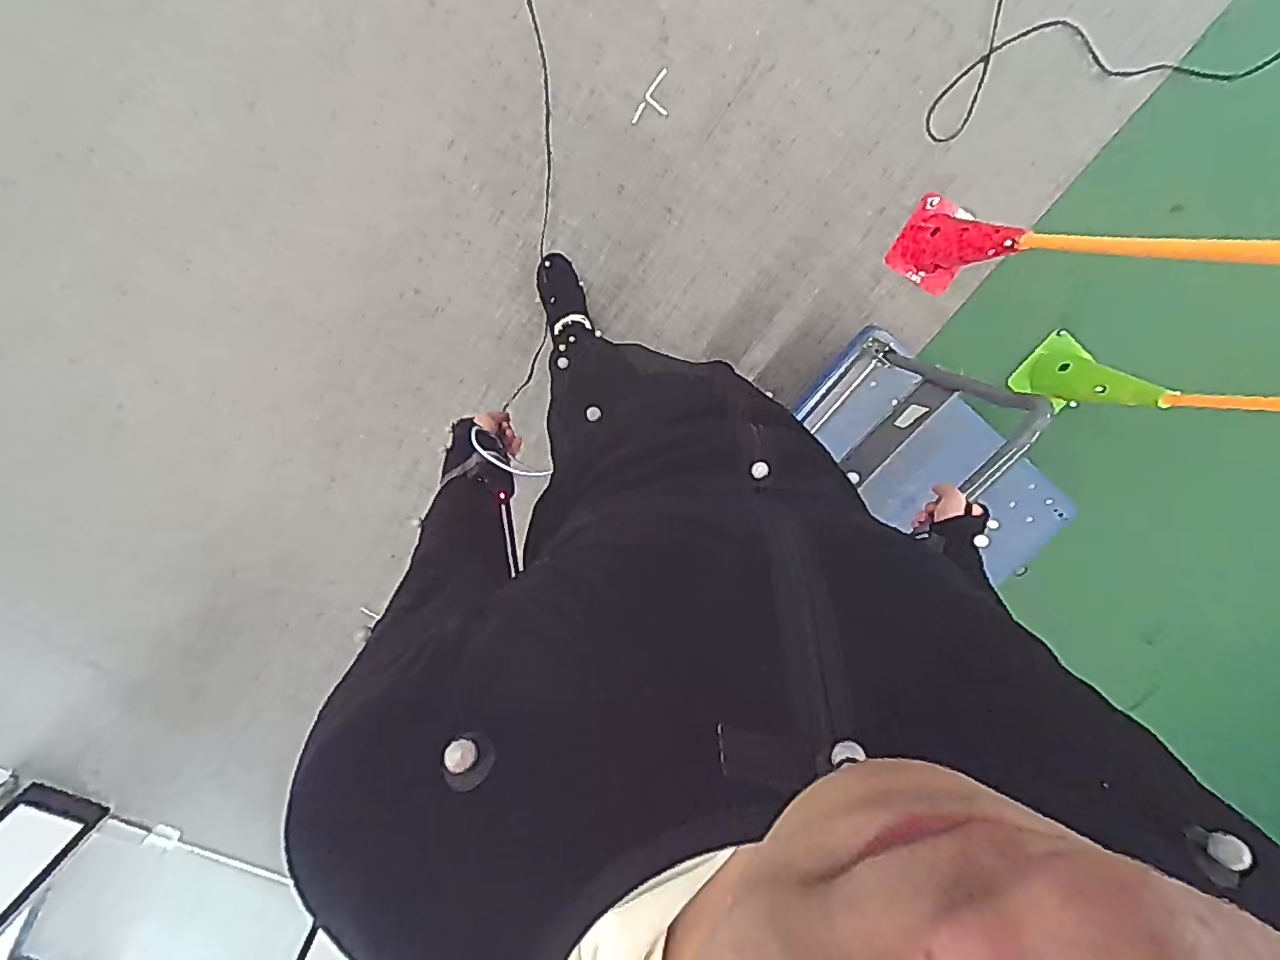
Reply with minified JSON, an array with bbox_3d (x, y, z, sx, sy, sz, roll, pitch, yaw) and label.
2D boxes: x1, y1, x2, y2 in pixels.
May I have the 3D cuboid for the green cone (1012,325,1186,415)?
[{"bbox_3d":[1.200,-0.248,1.386,0.202,0.368,0.200,33,106,-14],"label":"green cone"}]
